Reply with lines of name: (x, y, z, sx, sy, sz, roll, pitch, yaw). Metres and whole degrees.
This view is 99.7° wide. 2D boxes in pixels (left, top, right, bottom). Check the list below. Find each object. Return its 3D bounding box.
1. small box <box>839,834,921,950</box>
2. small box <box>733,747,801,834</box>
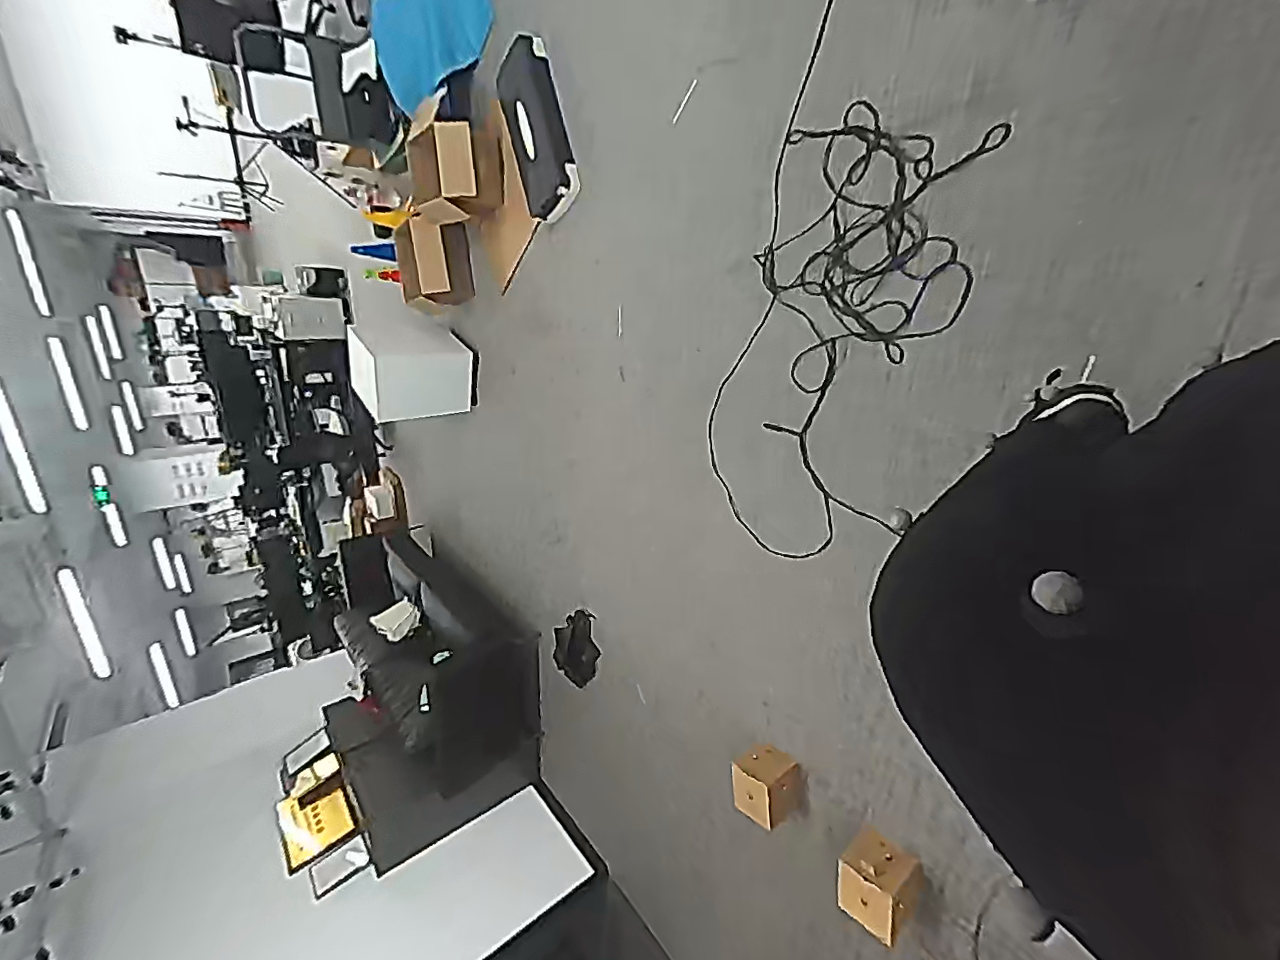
small box: (0.715, 1.215, 1.609, 0.168, 0.176, 0.179, 11, 109, 50)
small box: (0.451, 1.087, 1.910, 0.168, 0.176, 0.179, 7, 107, 53)
